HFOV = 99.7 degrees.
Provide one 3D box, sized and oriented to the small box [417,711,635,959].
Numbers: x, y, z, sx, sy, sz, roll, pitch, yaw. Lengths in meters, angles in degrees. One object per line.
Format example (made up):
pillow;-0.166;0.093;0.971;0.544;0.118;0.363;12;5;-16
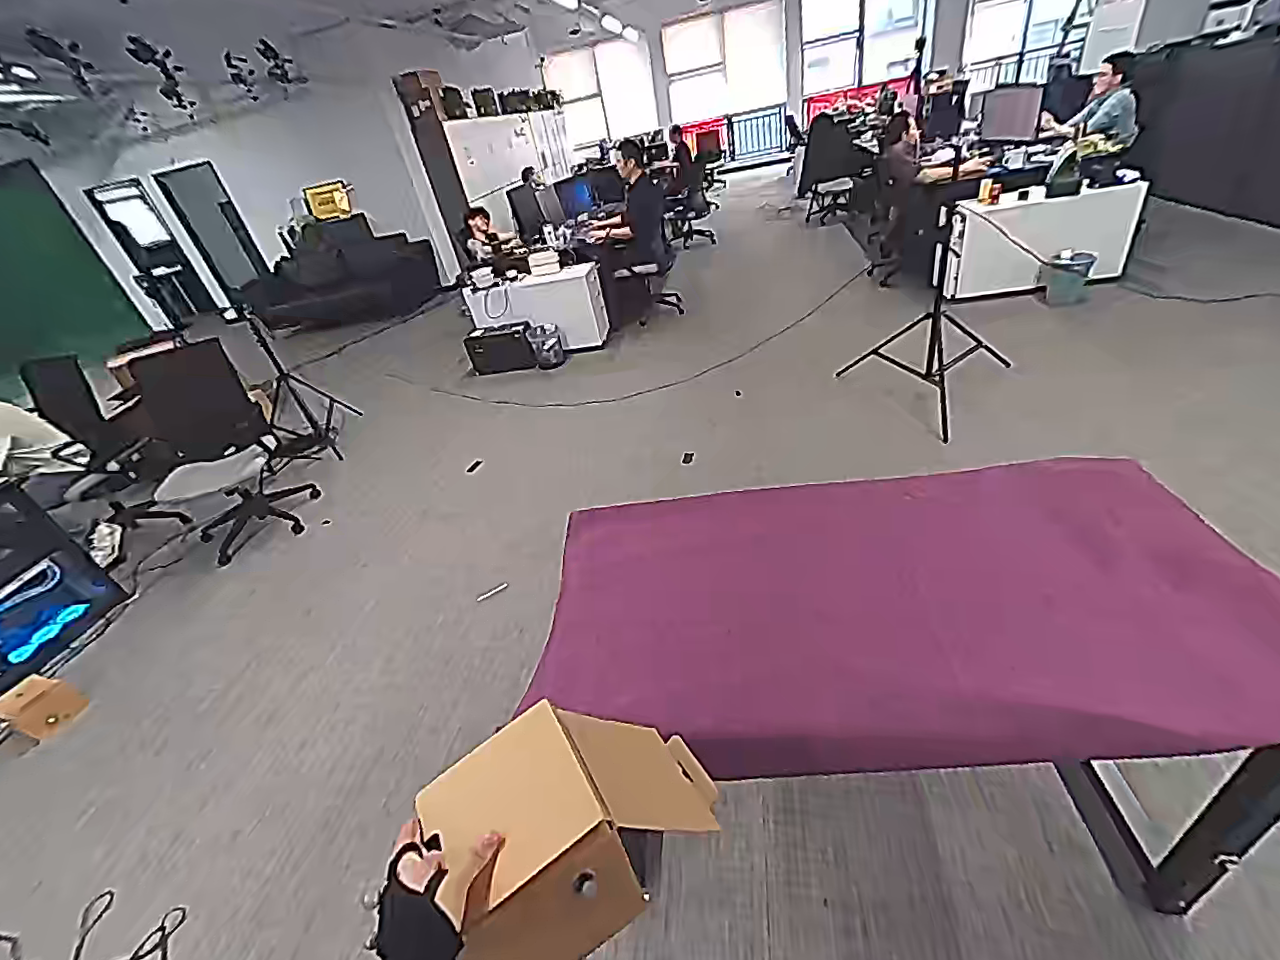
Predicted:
small box;-0.119;0.407;0.596;0.179;0.176;0.168;-25;30;-19
